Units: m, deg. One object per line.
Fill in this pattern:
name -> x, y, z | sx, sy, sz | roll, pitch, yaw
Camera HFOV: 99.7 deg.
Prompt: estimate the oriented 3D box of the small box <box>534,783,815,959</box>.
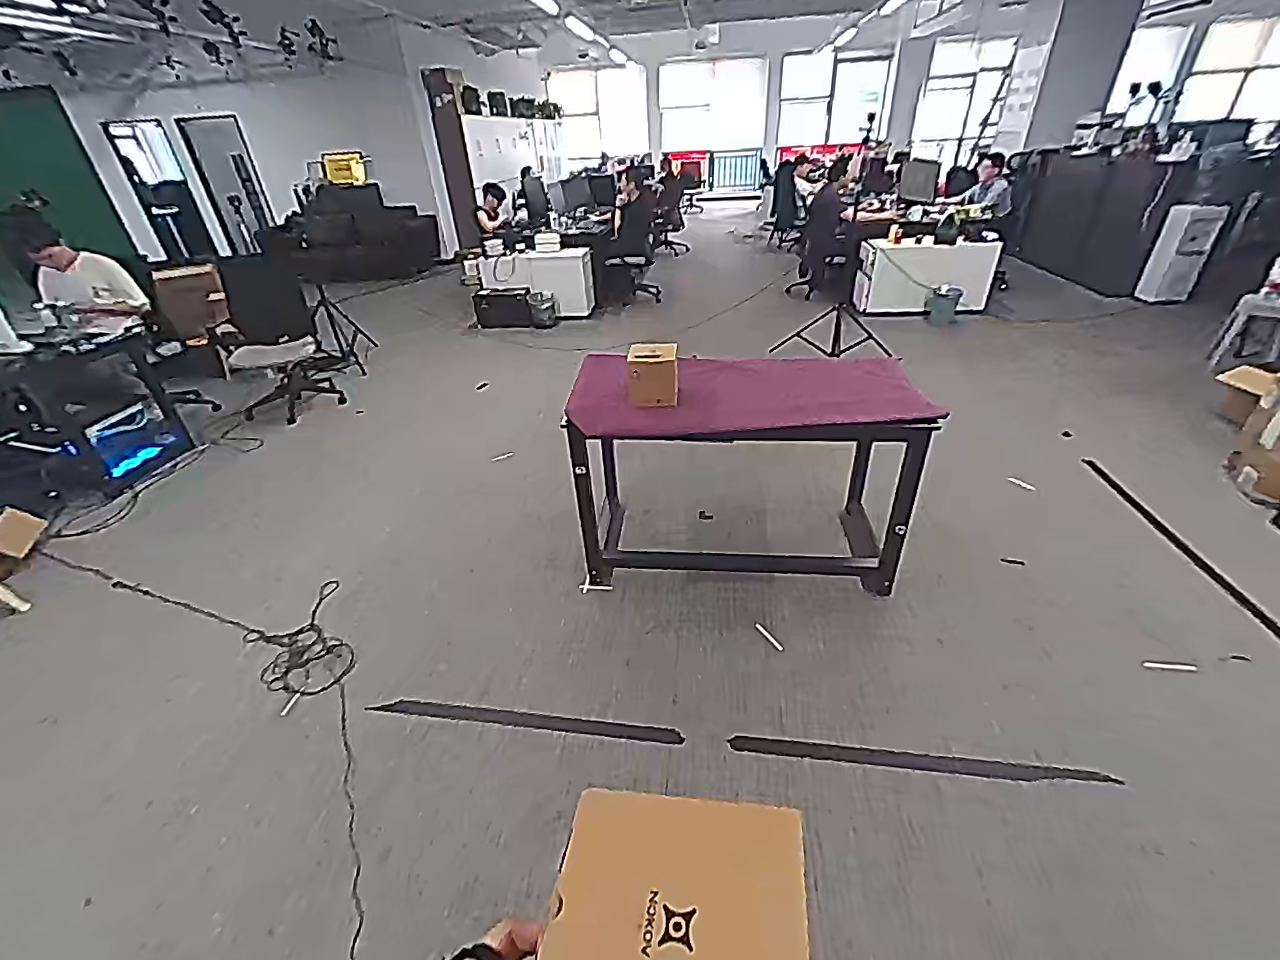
small box -> 0.036, 0.353, 0.391 | 0.179, 0.176, 0.168 | -4, 31, 16
